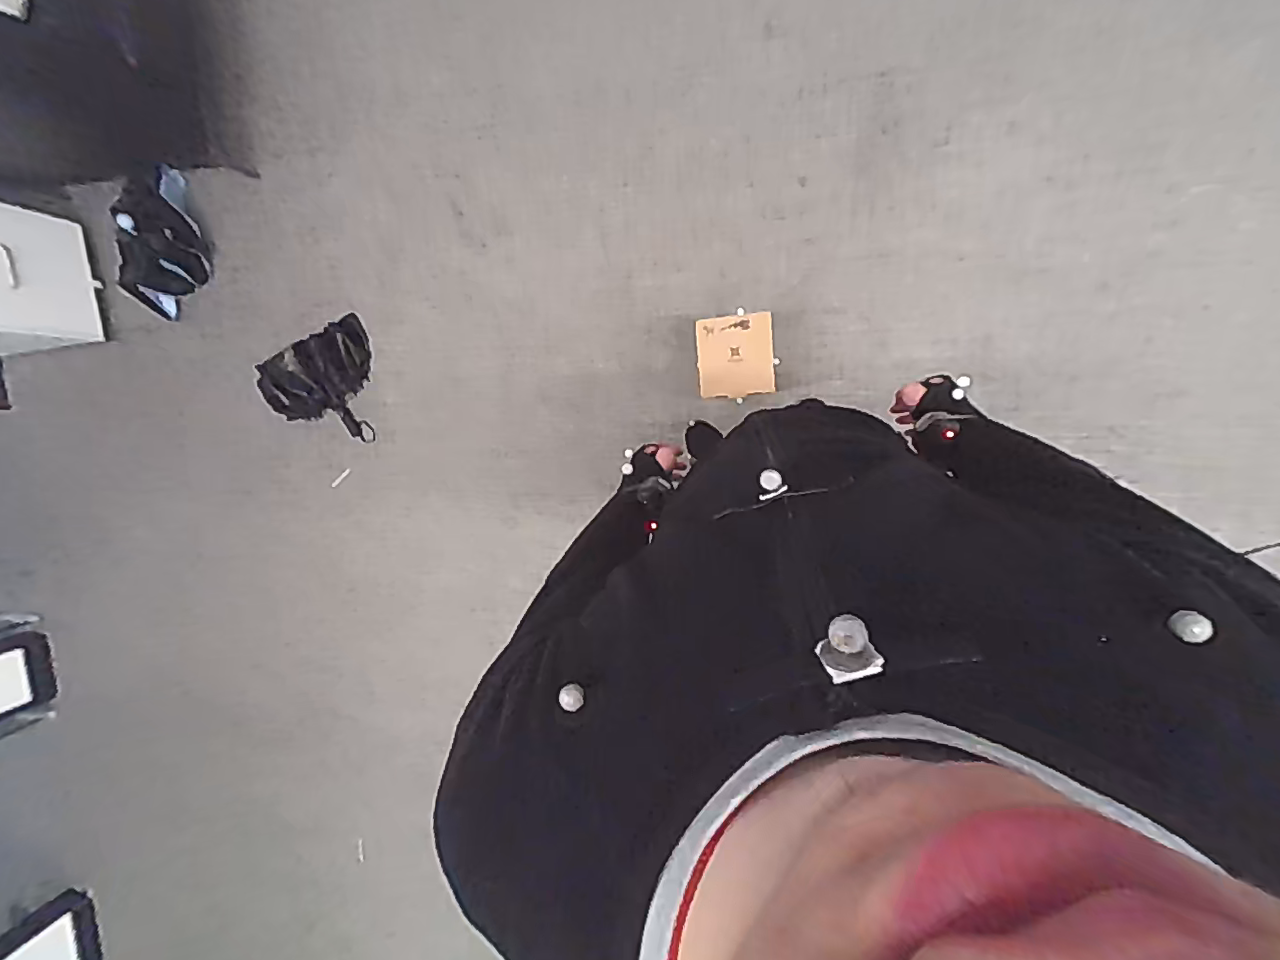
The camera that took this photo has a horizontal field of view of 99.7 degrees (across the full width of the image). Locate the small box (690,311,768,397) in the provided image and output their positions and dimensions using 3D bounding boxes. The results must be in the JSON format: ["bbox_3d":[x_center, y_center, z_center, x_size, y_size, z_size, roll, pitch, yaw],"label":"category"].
[{"bbox_3d":[0.214,-0.291,1.275,0.168,0.176,0.179,-3,98,13],"label":"small box"}]
